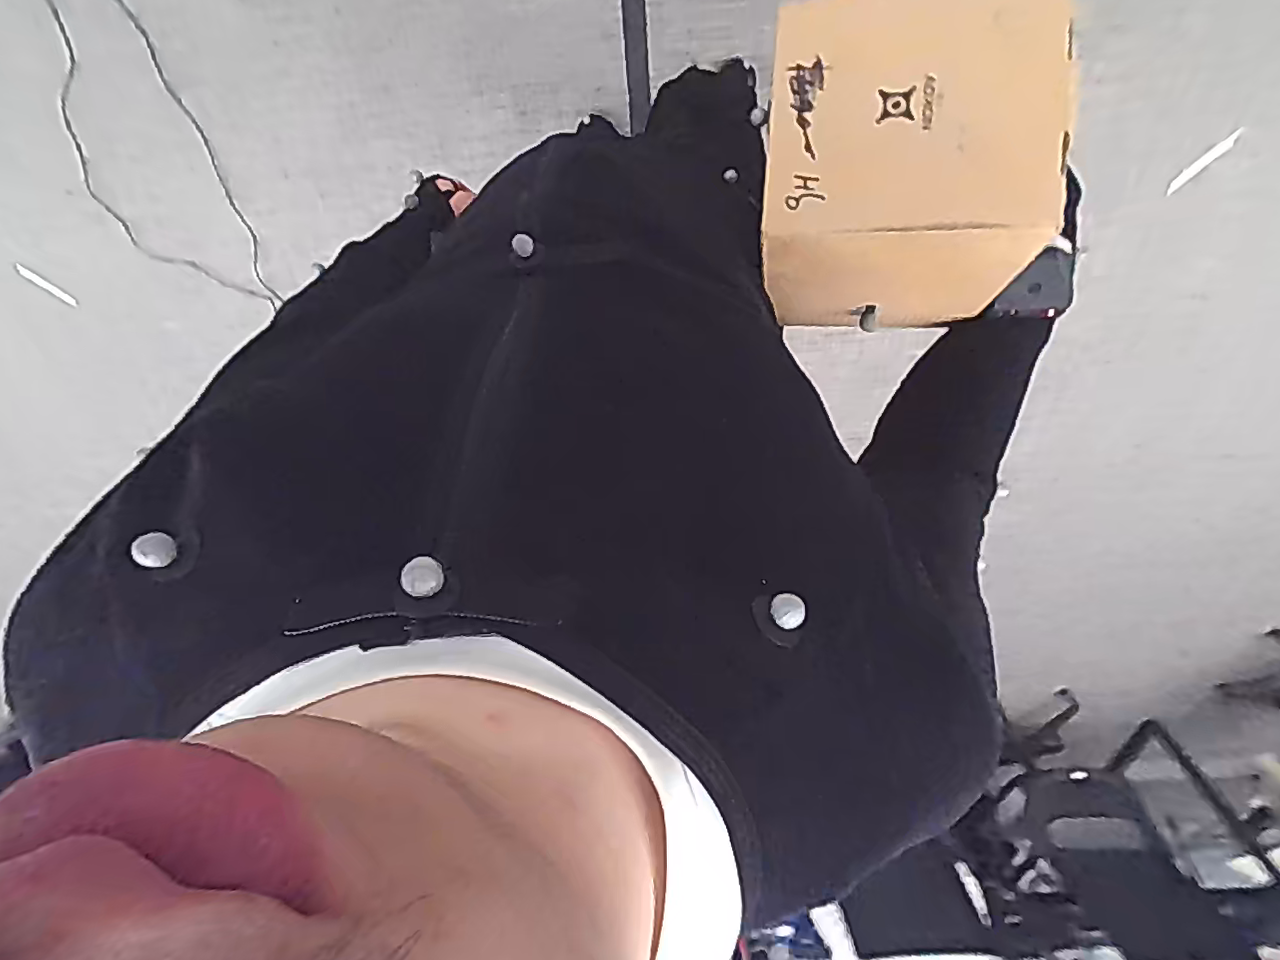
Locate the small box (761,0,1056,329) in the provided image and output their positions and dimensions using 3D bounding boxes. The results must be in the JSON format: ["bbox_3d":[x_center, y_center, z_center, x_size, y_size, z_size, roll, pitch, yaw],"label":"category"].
[{"bbox_3d":[0.194,-0.232,0.440,0.179,0.176,0.168,4,85,13],"label":"small box"}]
